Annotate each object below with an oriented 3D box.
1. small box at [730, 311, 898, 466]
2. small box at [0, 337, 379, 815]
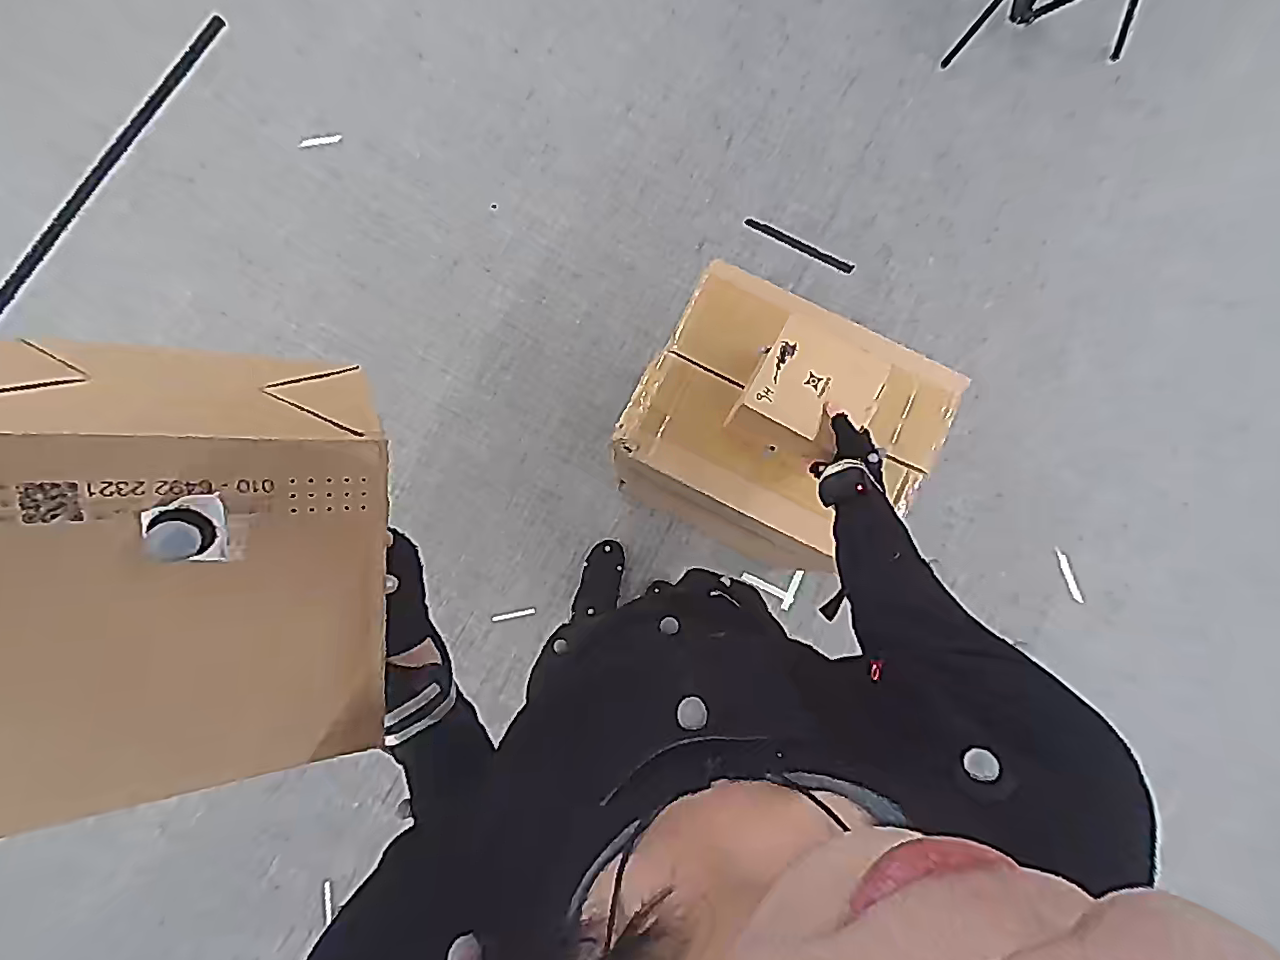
[{"bbox_3d":[0.268,-0.135,0.875,0.179,0.176,0.168,30,83,3],"label":"small box"},{"bbox_3d":[-0.231,0.023,0.279,0.168,0.179,0.176,-2,111,-28],"label":"small box"}]
